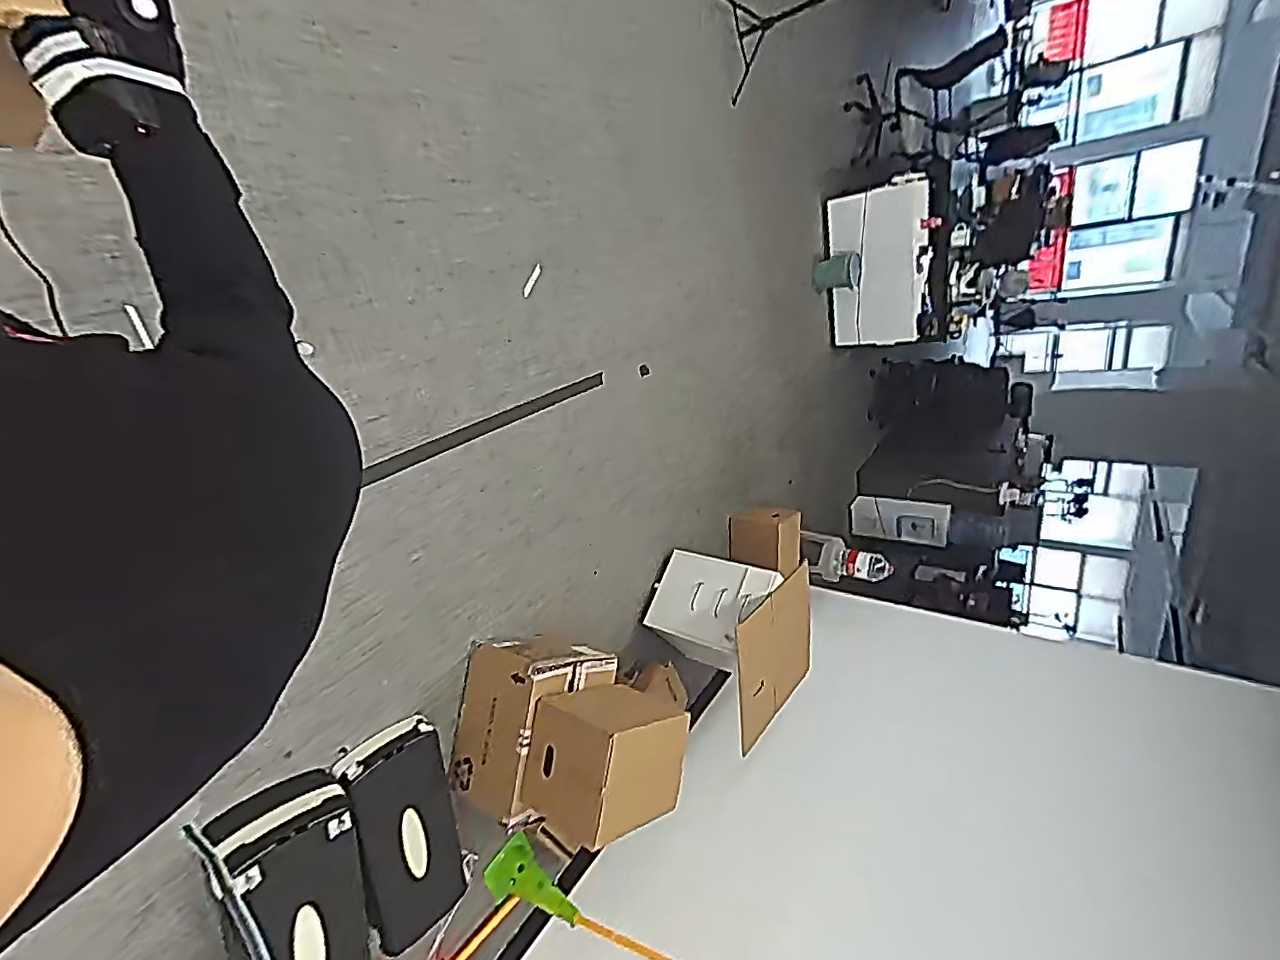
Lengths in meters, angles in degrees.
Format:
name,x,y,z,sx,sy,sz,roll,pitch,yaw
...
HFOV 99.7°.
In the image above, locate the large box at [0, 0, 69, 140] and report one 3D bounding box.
name,x,y,z,sx,sy,sz,roll,pitch,yaw
large box,-0.641,-0.381,0.260,0.408,0.320,0.320,-33,123,-44
